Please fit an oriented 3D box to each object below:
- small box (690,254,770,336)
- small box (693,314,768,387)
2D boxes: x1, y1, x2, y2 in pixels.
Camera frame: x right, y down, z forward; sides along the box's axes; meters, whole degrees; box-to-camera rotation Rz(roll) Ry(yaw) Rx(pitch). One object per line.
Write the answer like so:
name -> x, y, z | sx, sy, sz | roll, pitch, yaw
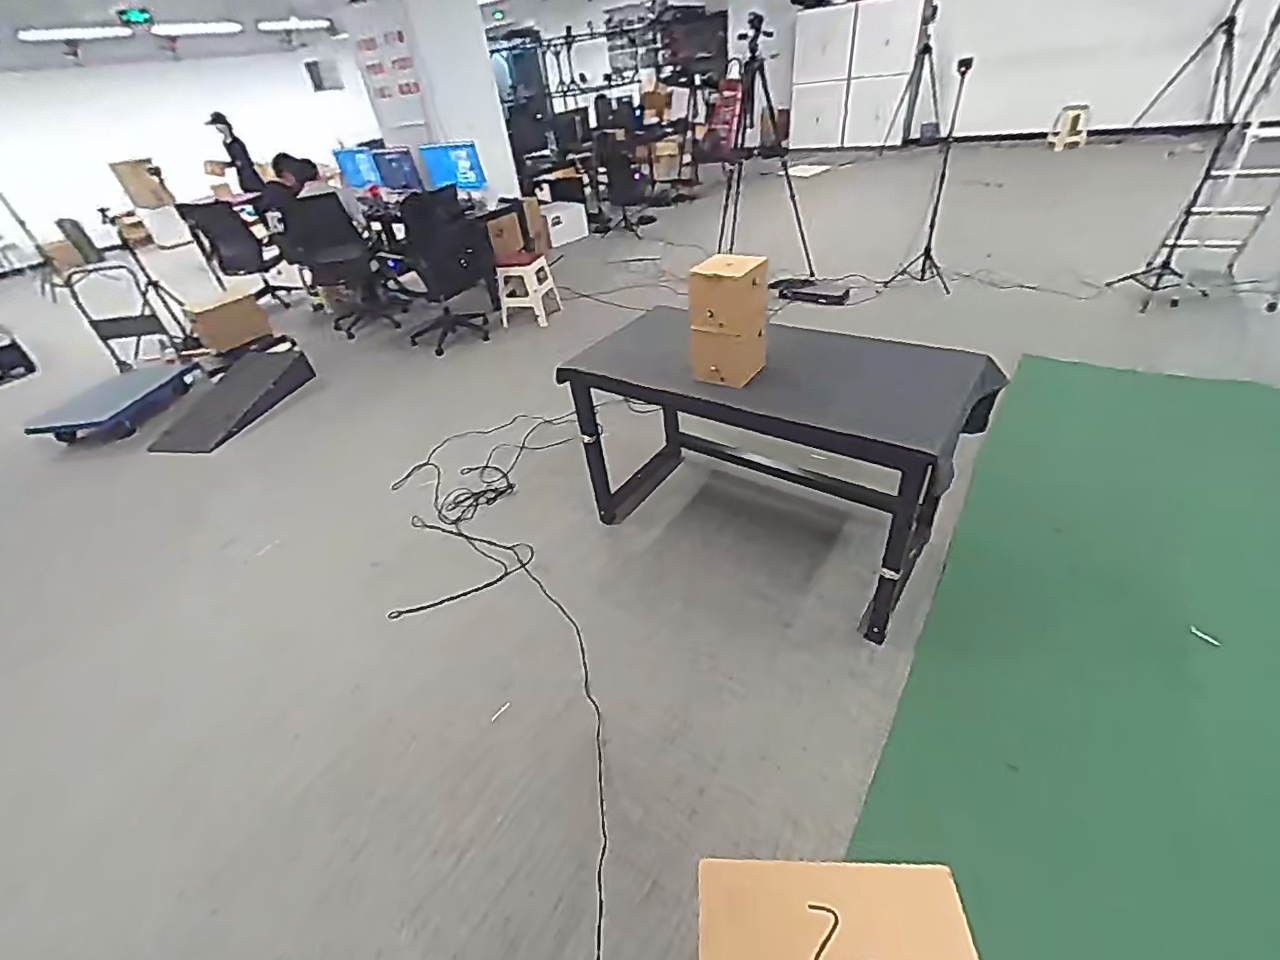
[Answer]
small box -> 0.259, -0.535, 1.555 | 0.168, 0.176, 0.179 | 19, 45, 31
small box -> 0.276, -0.406, 1.652 | 0.168, 0.176, 0.179 | 18, 44, 32
